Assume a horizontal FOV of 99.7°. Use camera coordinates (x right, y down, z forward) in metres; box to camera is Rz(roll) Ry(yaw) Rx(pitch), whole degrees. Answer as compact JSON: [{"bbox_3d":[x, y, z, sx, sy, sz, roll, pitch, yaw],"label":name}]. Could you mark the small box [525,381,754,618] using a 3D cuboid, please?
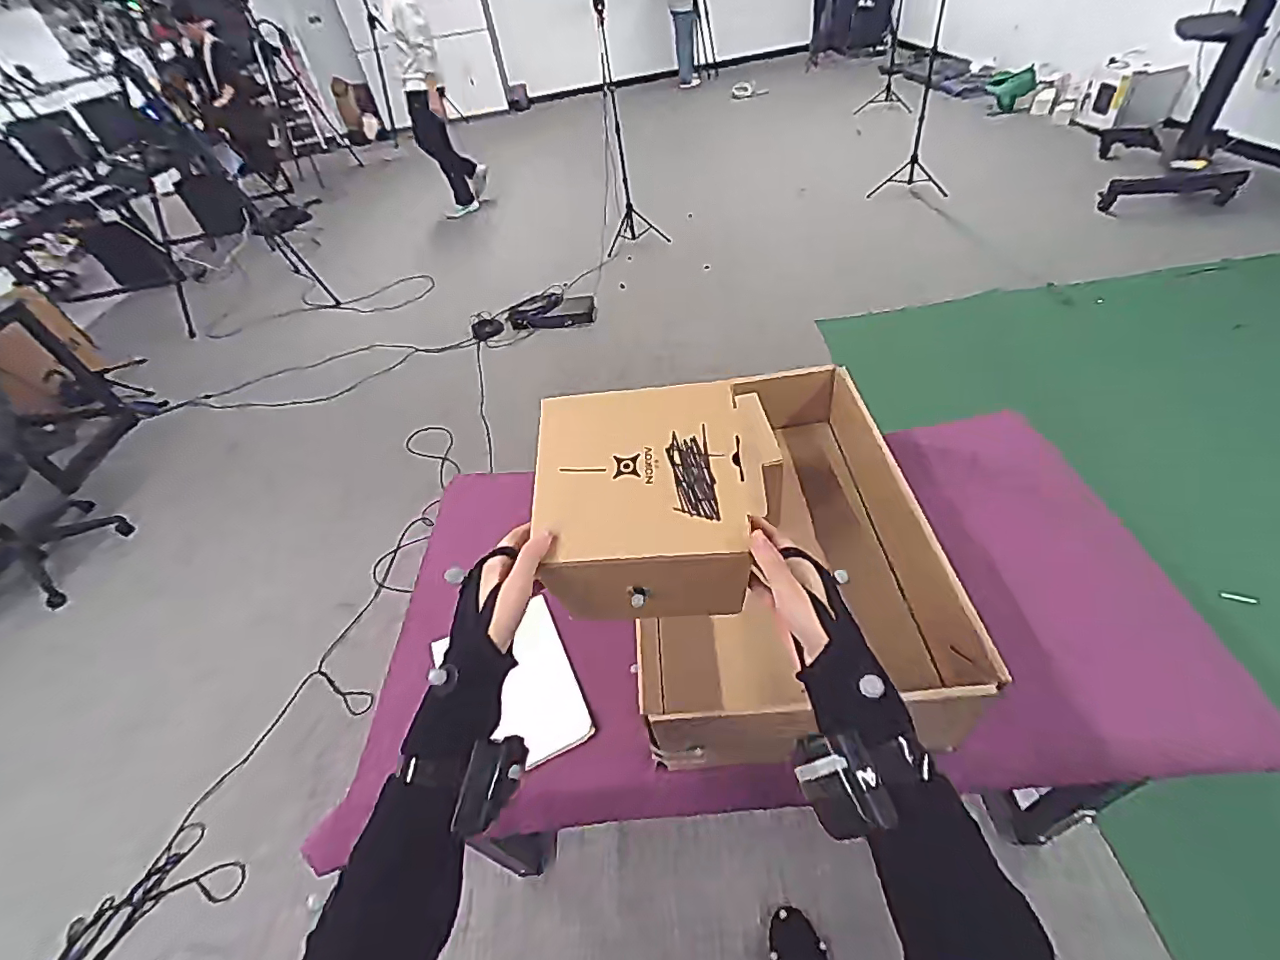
[{"bbox_3d":[0.006,0.027,0.512,0.179,0.176,0.168,-4,60,5],"label":"small box"}]
